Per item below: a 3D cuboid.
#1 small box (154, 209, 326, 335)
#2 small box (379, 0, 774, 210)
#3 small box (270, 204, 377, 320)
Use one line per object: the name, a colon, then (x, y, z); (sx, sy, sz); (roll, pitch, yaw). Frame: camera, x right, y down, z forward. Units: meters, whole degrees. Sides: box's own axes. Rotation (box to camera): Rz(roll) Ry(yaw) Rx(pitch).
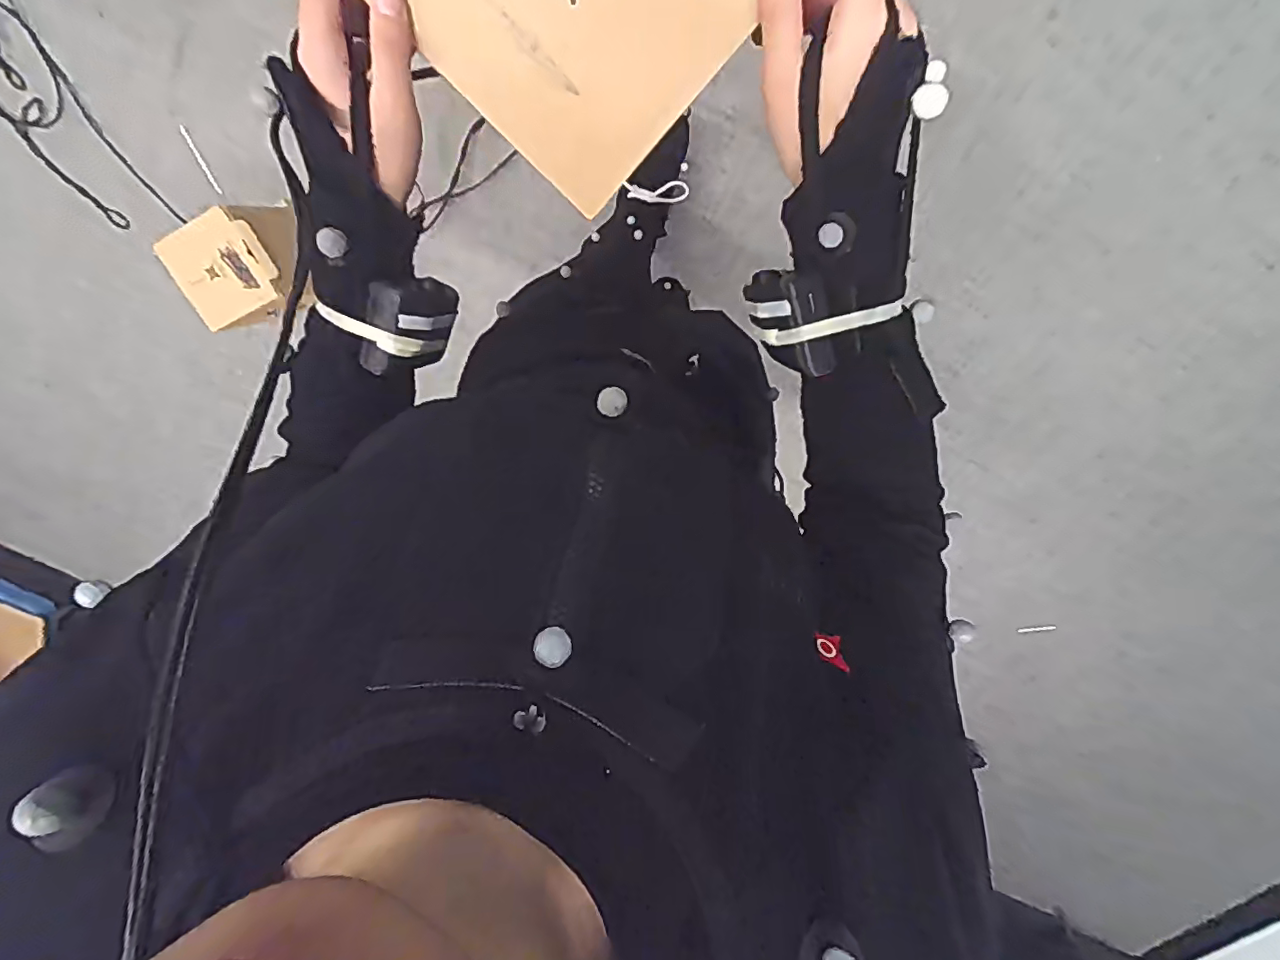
small box: (-0.744, -0.401, 1.035); (0.179, 0.176, 0.168); (-19, 111, 15)
small box: (-0.020, -0.303, 0.309); (0.168, 0.176, 0.179); (37, 126, -22)
small box: (-0.720, -0.478, 1.179); (0.168, 0.176, 0.179); (-24, 111, 16)
